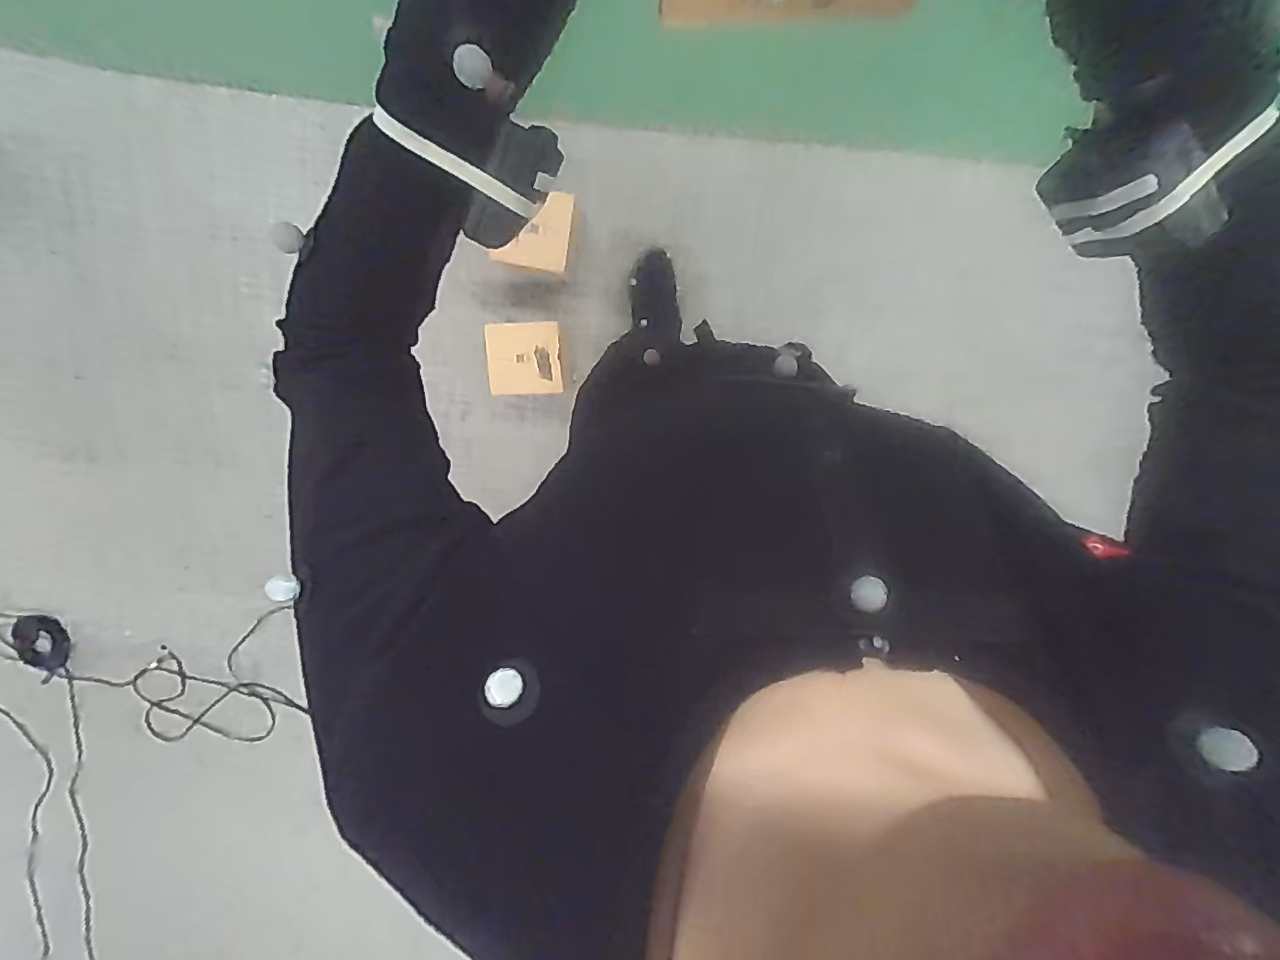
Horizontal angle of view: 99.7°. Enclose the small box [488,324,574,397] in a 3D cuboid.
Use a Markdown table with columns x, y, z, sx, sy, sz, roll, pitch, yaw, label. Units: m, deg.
| x | y | z | sx | sy | sz | roll | pitch | yaw | label |
| --- | --- | --- | --- | --- | --- | --- | --- | --- | --- |
| -0.260 | -0.295 | 1.335 | 0.179 | 0.176 | 0.168 | -2 | 102 | 3 | small box |
